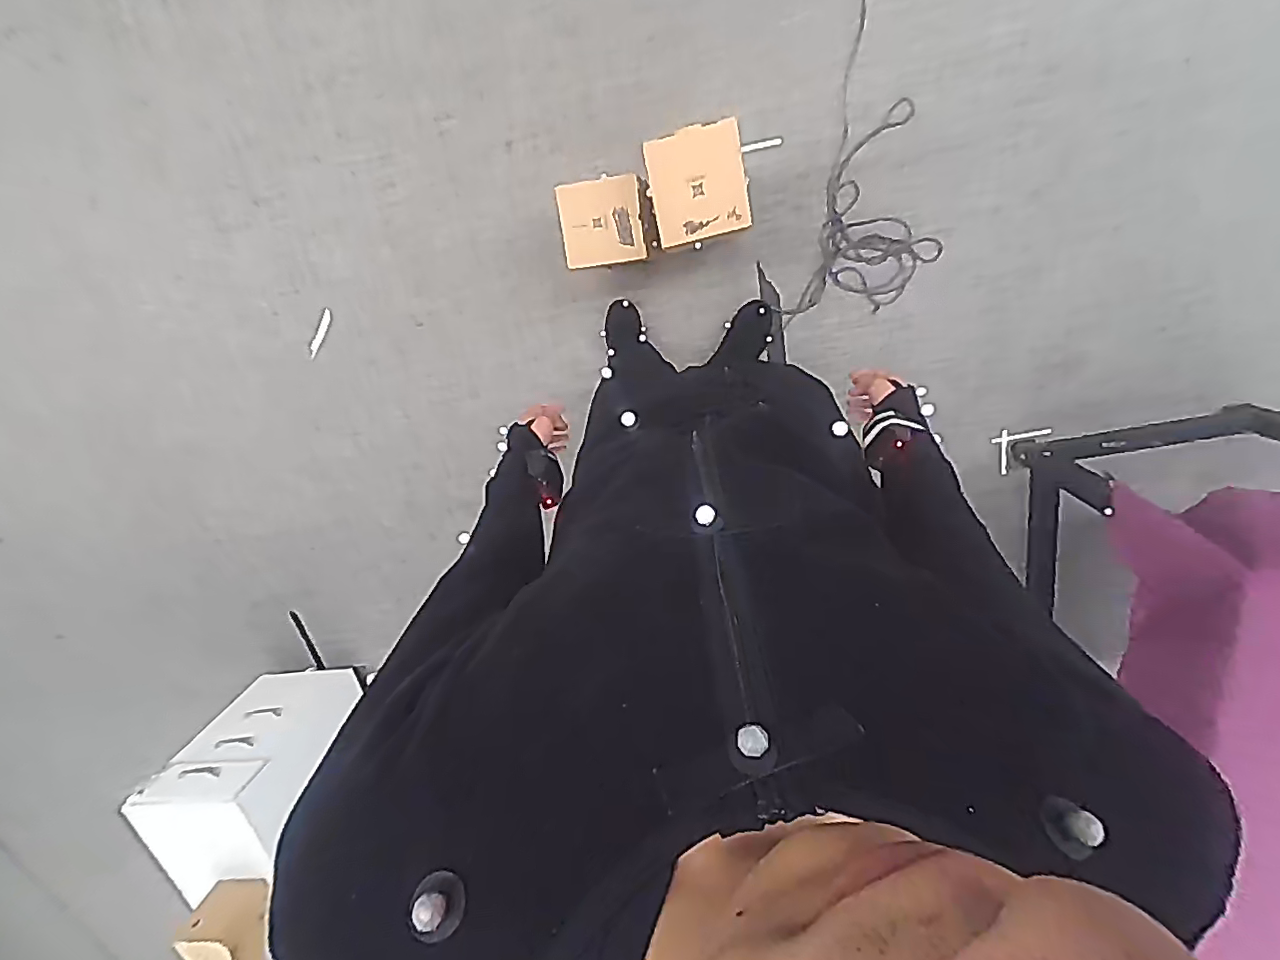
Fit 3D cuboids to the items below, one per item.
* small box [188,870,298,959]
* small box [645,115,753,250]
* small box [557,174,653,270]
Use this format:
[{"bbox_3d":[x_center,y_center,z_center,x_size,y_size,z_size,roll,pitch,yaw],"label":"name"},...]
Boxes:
[{"bbox_3d":[-1.197,1.322,1.645,0.179,0.176,0.168,-8,111,11],"label":"small box"},{"bbox_3d":[0.111,-0.541,1.009,0.168,0.176,0.179,-10,110,11],"label":"small box"},{"bbox_3d":[-0.067,-0.567,1.200,0.179,0.176,0.168,-4,111,10],"label":"small box"}]
